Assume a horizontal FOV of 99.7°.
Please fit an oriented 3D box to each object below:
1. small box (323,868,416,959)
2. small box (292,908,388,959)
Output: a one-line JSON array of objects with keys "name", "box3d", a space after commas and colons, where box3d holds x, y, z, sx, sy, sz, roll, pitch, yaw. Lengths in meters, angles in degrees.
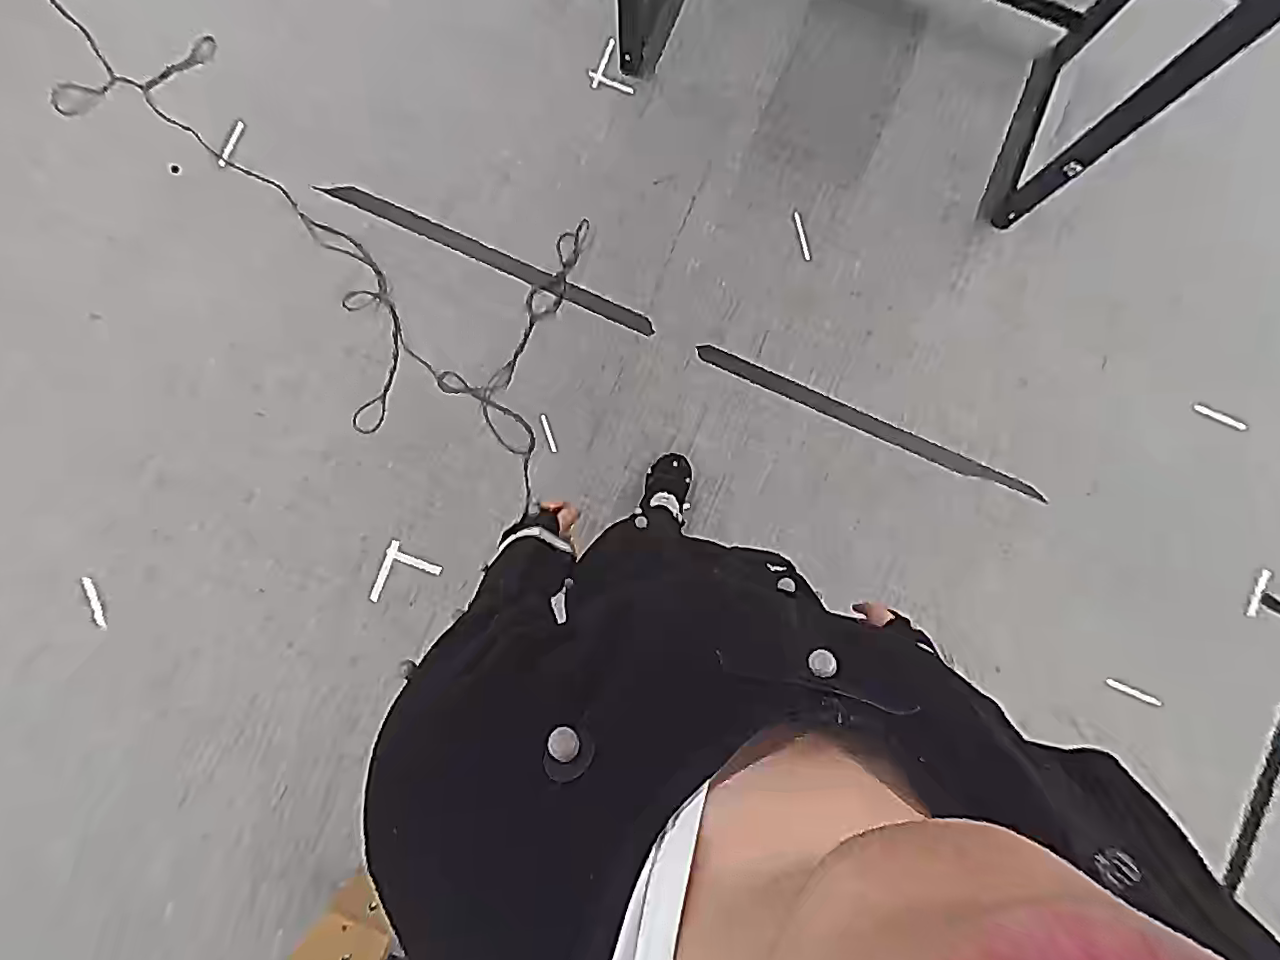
[{"name": "small box", "box3d": [-0.706, 1.136, 1.371, 0.179, 0.176, 0.168, 24, 88, -1]}, {"name": "small box", "box3d": [-0.696, 1.121, 1.210, 0.168, 0.176, 0.179, 22, 89, 0]}]
